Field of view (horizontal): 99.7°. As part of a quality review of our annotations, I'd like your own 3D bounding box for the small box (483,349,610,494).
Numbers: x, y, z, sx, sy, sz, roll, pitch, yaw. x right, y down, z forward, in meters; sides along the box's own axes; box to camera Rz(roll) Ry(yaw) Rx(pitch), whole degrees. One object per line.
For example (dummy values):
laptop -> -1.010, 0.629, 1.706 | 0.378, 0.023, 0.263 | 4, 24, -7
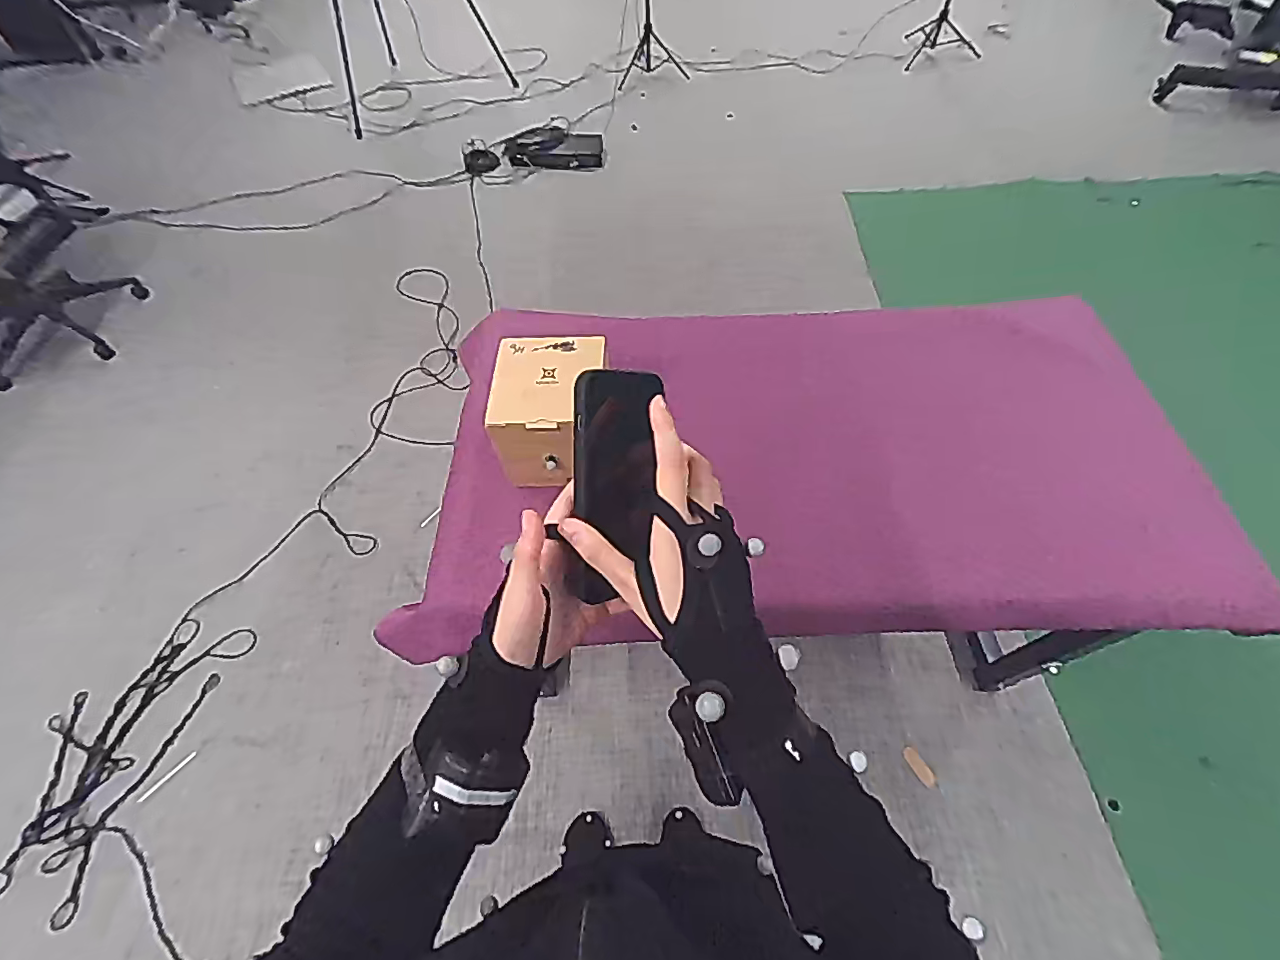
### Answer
small box -> -0.138, -0.088, 0.872 | 0.168, 0.176, 0.179 | 0, 57, 2
